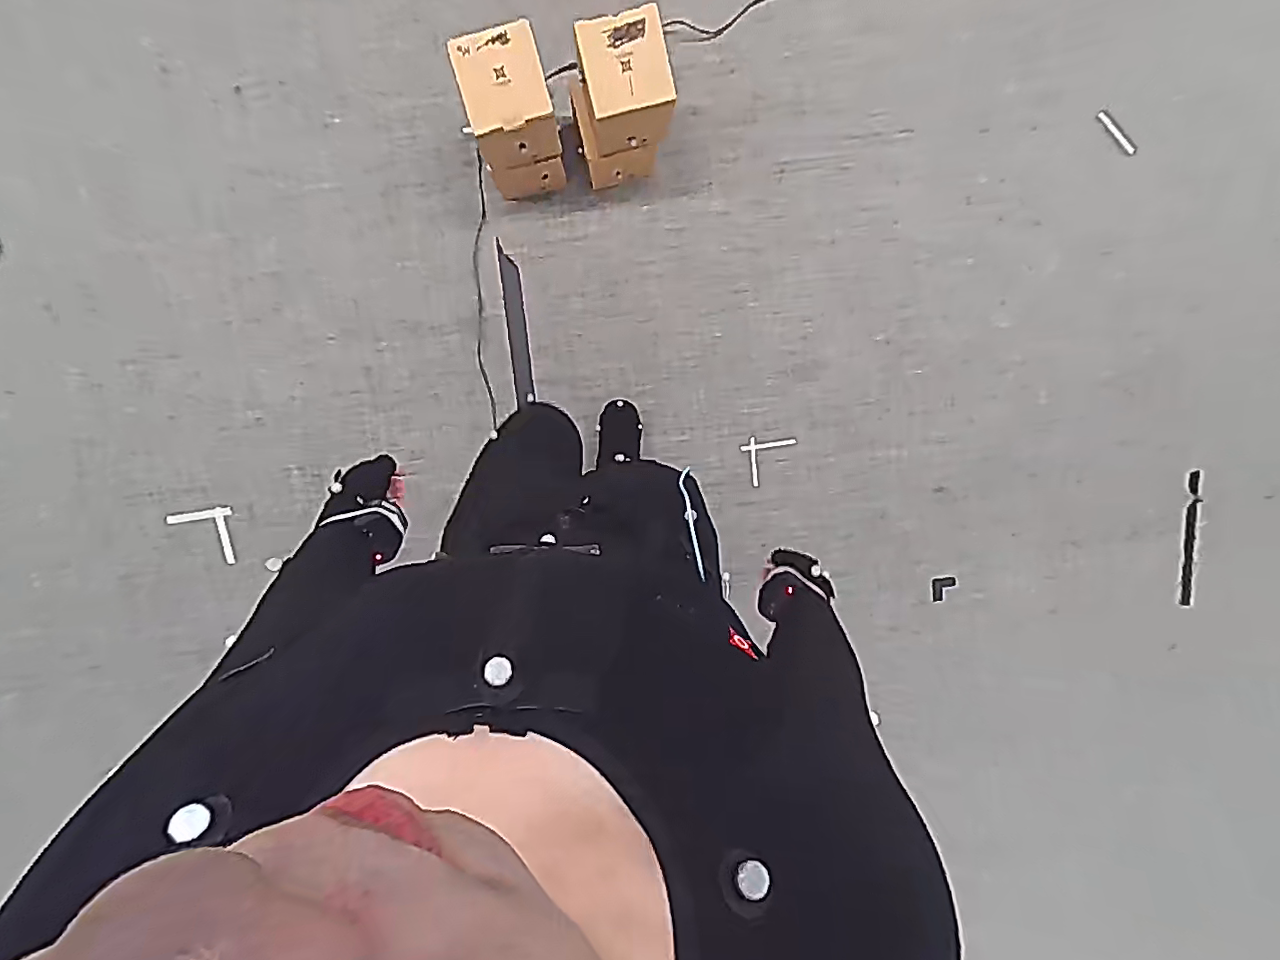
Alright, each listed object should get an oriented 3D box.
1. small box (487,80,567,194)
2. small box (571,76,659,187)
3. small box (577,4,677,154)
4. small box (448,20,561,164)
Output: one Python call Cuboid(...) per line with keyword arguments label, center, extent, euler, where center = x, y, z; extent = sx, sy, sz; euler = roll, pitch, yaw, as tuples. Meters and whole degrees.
Cuboid(label="small box", center=(-0.273, -0.801, 1.281), extent=(0.168, 0.176, 0.179), euler=(-11, 98, -1))
Cuboid(label="small box", center=(-0.058, -0.833, 1.283), extent=(0.168, 0.176, 0.179), euler=(-15, 99, 0))
Cuboid(label="small box", center=(-0.028, -0.818, 1.120), extent=(0.168, 0.176, 0.179), euler=(-14, 100, 0))
Cuboid(label="small box", center=(-0.268, -0.783, 1.117), extent=(0.168, 0.176, 0.179), euler=(-15, 99, 0))
